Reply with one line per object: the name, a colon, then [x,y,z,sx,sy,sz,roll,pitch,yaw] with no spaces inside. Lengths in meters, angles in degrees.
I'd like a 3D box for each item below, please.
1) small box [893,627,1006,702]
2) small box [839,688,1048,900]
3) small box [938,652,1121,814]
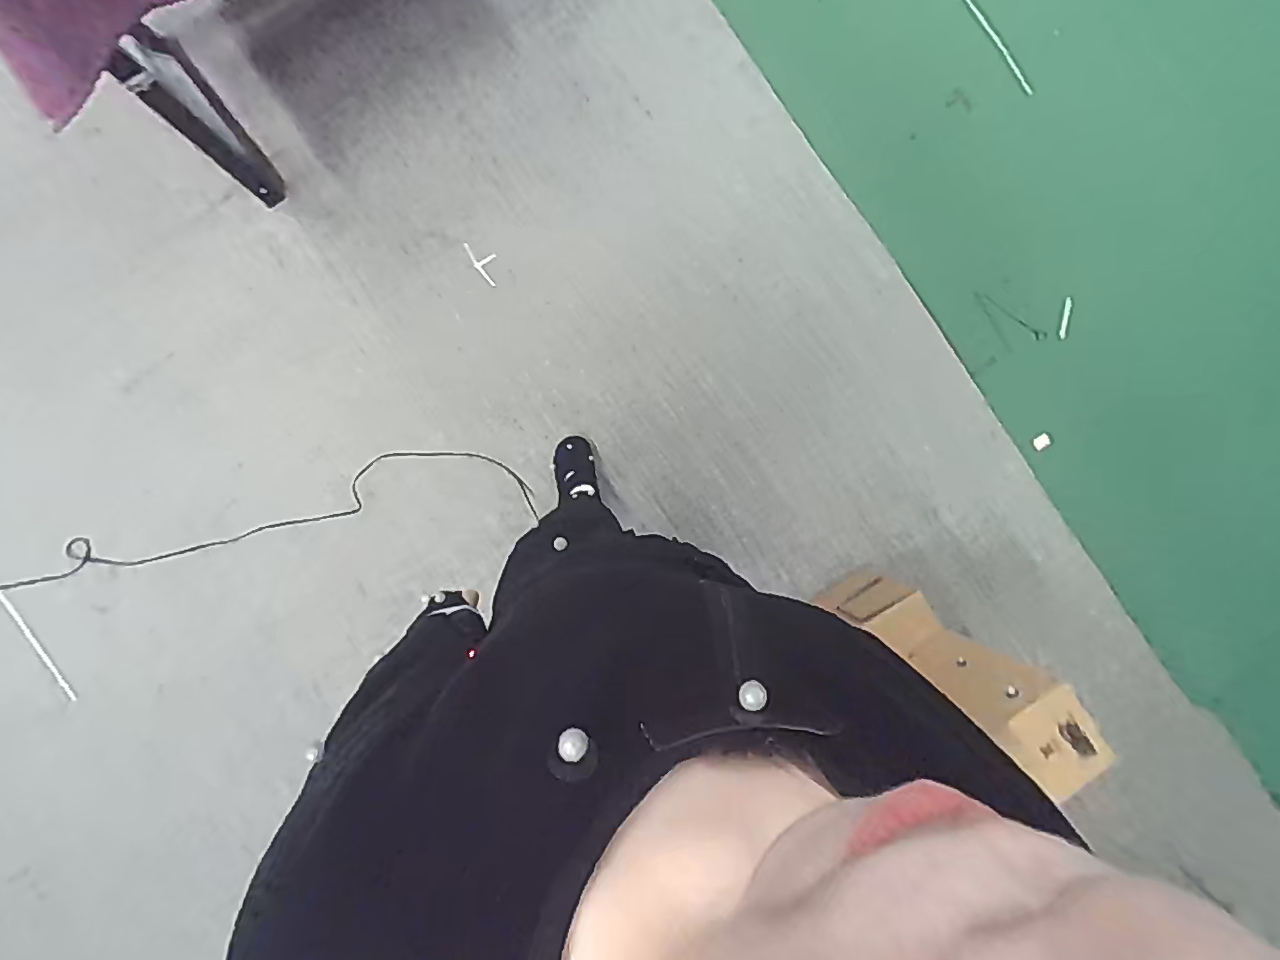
small box: [0.681,0.442,1.142,0.168,0.176,0.179,-32,92,-4]
small box: [0.432,0.446,0.798,0.168,0.176,0.179,-32,91,-3]
small box: [0.686,0.440,0.976,0.179,0.176,0.168,-33,91,-5]
